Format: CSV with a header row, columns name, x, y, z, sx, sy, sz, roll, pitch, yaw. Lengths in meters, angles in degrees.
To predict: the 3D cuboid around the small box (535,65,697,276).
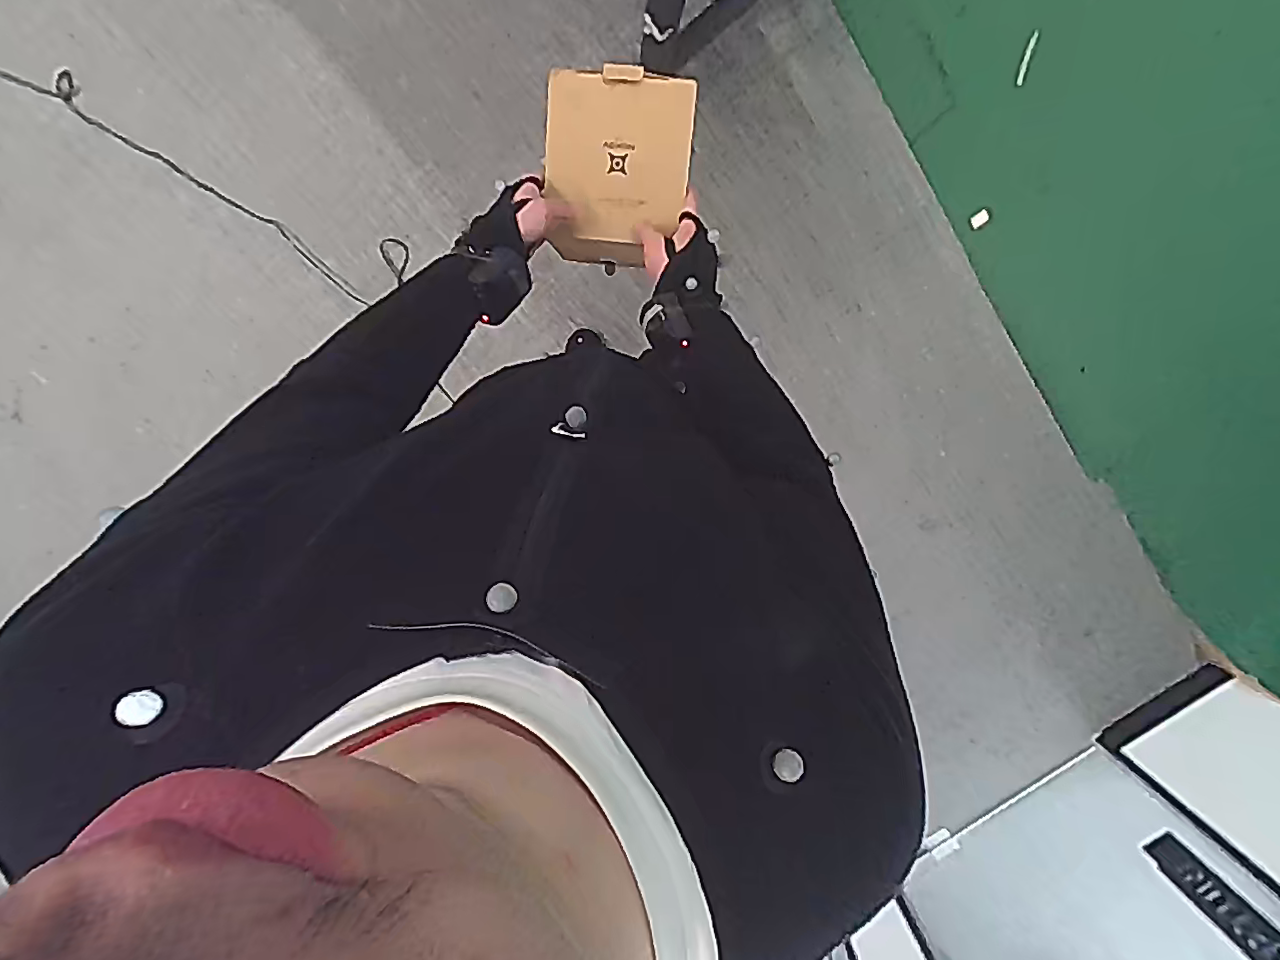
name,x,y,z,sx,sy,sz,roll,pitch,yaw
small box,-0.027,-0.369,0.676,0.168,0.176,0.179,7,102,1
